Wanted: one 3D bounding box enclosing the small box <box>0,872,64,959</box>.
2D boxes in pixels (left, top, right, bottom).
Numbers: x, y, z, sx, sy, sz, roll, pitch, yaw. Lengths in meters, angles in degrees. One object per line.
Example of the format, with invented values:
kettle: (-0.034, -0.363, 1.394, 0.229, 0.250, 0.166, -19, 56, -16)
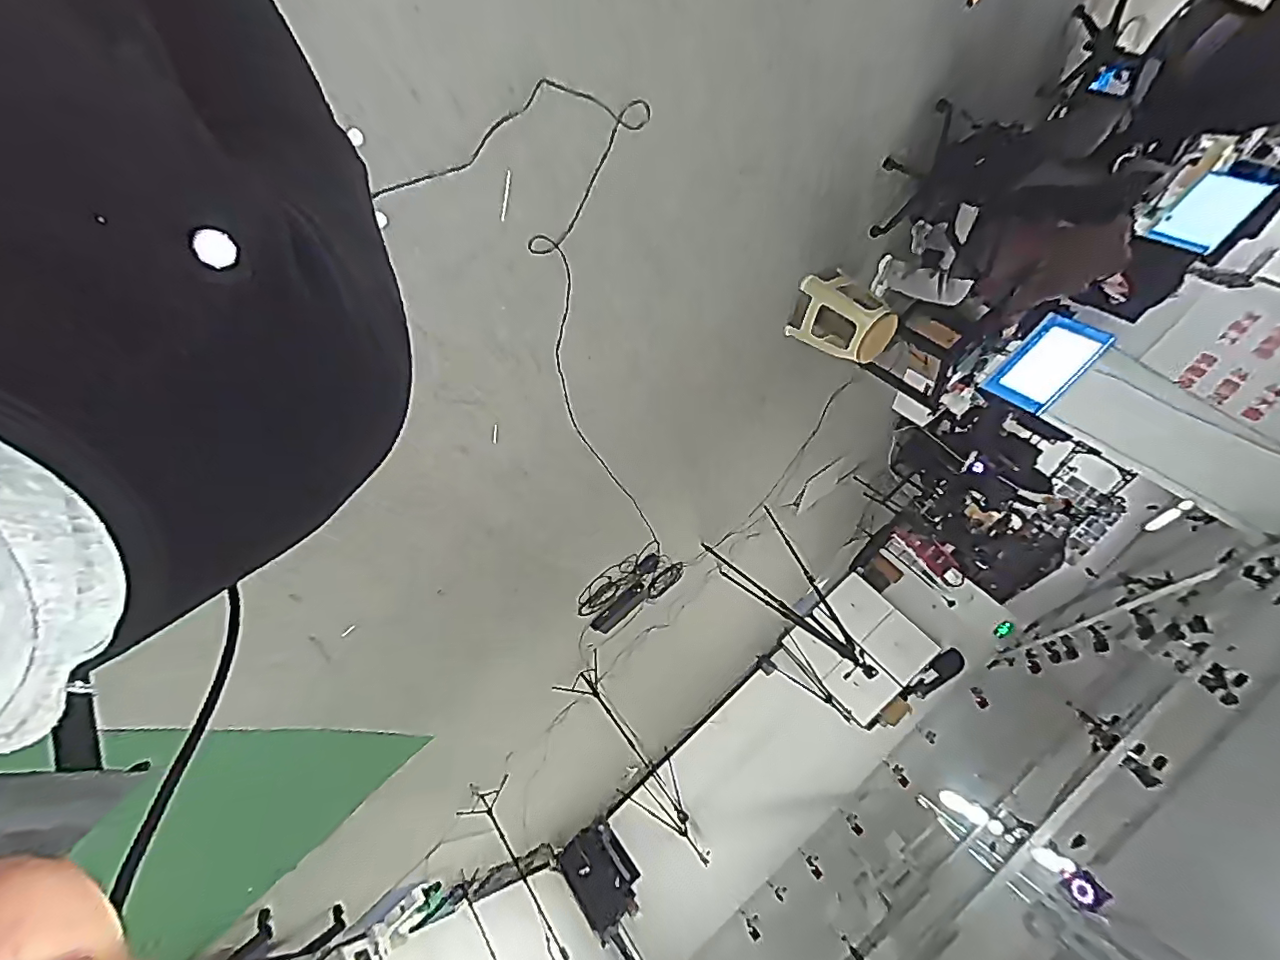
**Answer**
small box: (-1.245, 0.874, 1.006, 0.179, 0.176, 0.168, -46, 150, -1)
